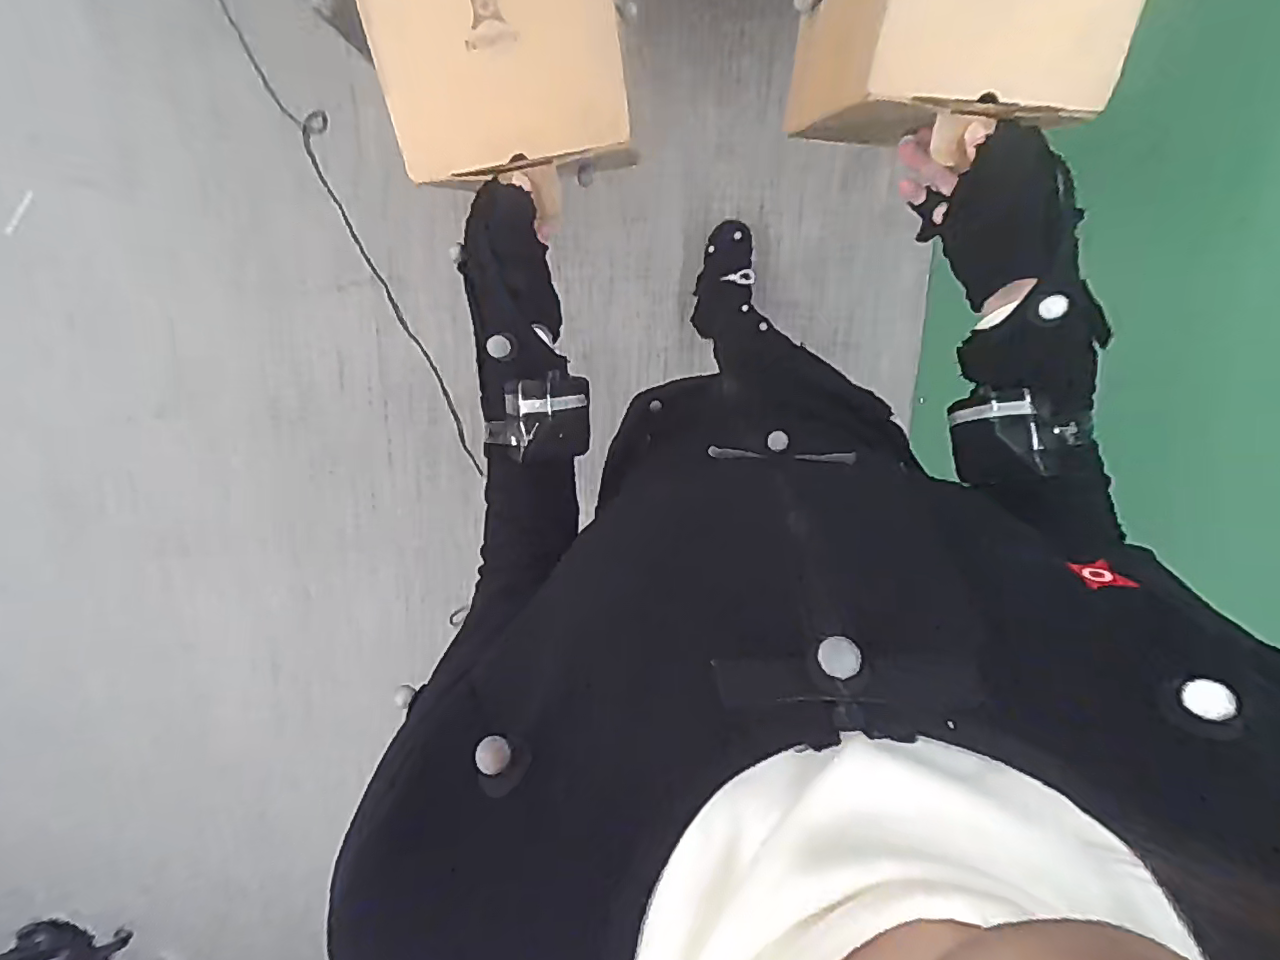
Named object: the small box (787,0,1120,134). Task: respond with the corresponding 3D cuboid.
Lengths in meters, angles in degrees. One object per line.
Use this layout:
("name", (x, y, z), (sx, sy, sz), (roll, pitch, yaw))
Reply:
("small box", (0.219, -0.367, 0.396), (0.168, 0.176, 0.179), (0, 116, -5))

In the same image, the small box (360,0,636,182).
("small box", (-0.098, -0.346, 0.428), (0.168, 0.176, 0.179), (-8, 115, 6))
